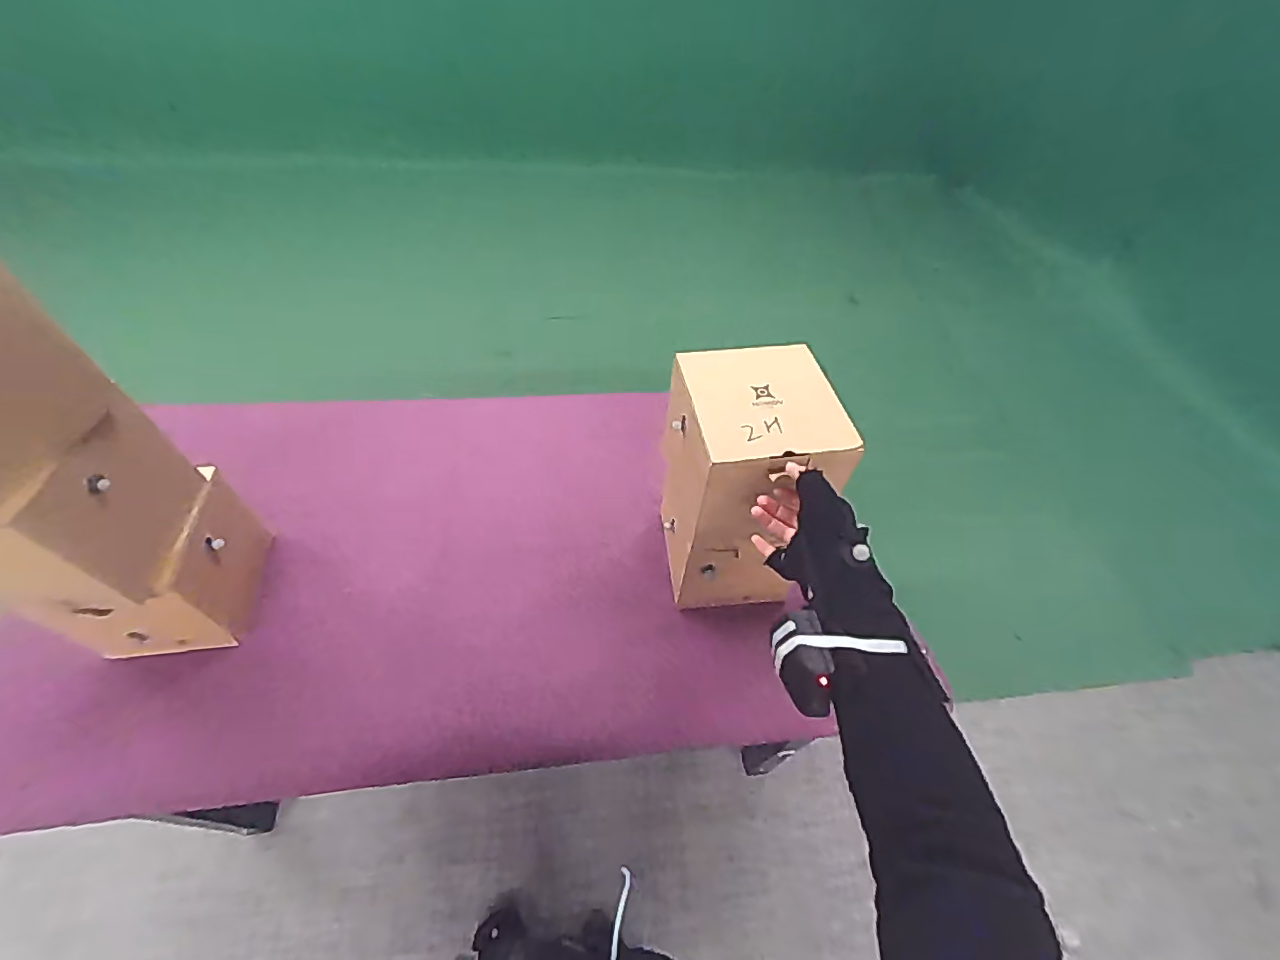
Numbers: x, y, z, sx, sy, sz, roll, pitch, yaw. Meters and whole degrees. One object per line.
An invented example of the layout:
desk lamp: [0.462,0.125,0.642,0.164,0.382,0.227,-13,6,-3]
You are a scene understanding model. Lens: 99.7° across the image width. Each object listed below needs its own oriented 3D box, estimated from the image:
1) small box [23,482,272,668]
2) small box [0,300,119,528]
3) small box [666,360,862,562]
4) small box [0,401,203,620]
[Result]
small box: [-0.614,0.124,0.701,0.168,0.176,0.179,-4,54,-8]
small box: [-0.598,-0.064,0.431,0.168,0.176,0.179,14,54,4]
small box: [0.131,-0.023,0.659,0.168,0.176,0.179,-6,53,-8]
small box: [-0.610,0.037,0.560,0.168,0.176,0.179,0,53,-6]
